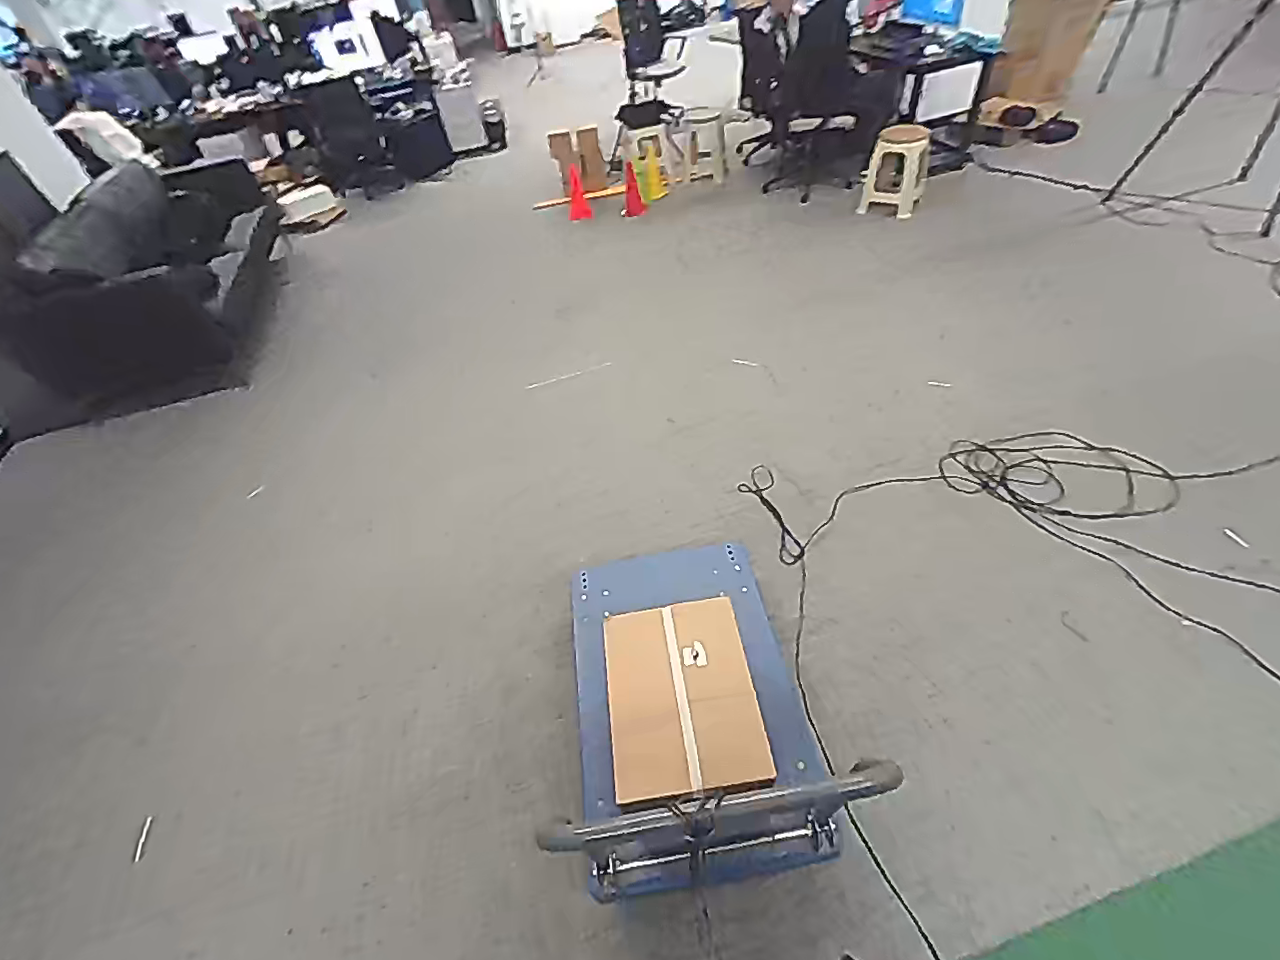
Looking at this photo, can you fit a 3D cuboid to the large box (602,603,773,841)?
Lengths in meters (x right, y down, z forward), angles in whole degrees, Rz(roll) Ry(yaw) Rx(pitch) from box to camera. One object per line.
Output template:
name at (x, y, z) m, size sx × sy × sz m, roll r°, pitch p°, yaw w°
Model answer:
large box at (0.102, 0.566, 1.278) m, size 0.320 × 0.320 × 0.408 m, roll -9°, pitch 45°, yaw 0°
